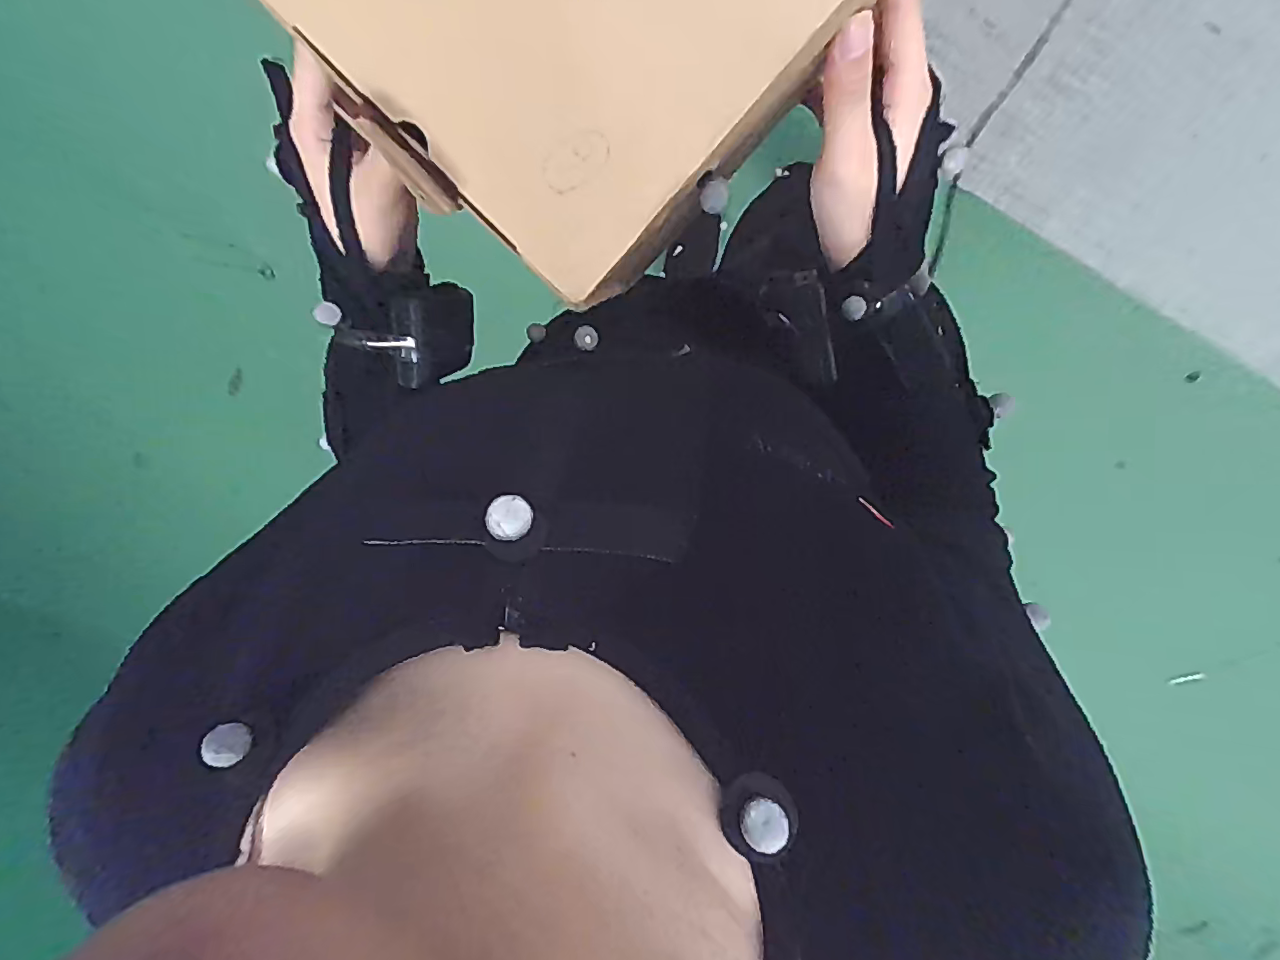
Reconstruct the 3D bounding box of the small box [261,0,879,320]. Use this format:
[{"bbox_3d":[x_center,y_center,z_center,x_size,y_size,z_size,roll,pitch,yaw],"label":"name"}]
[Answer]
[{"bbox_3d":[-0.014,-0.203,0.254,0.168,0.176,0.179,44,111,-11],"label":"small box"}]
